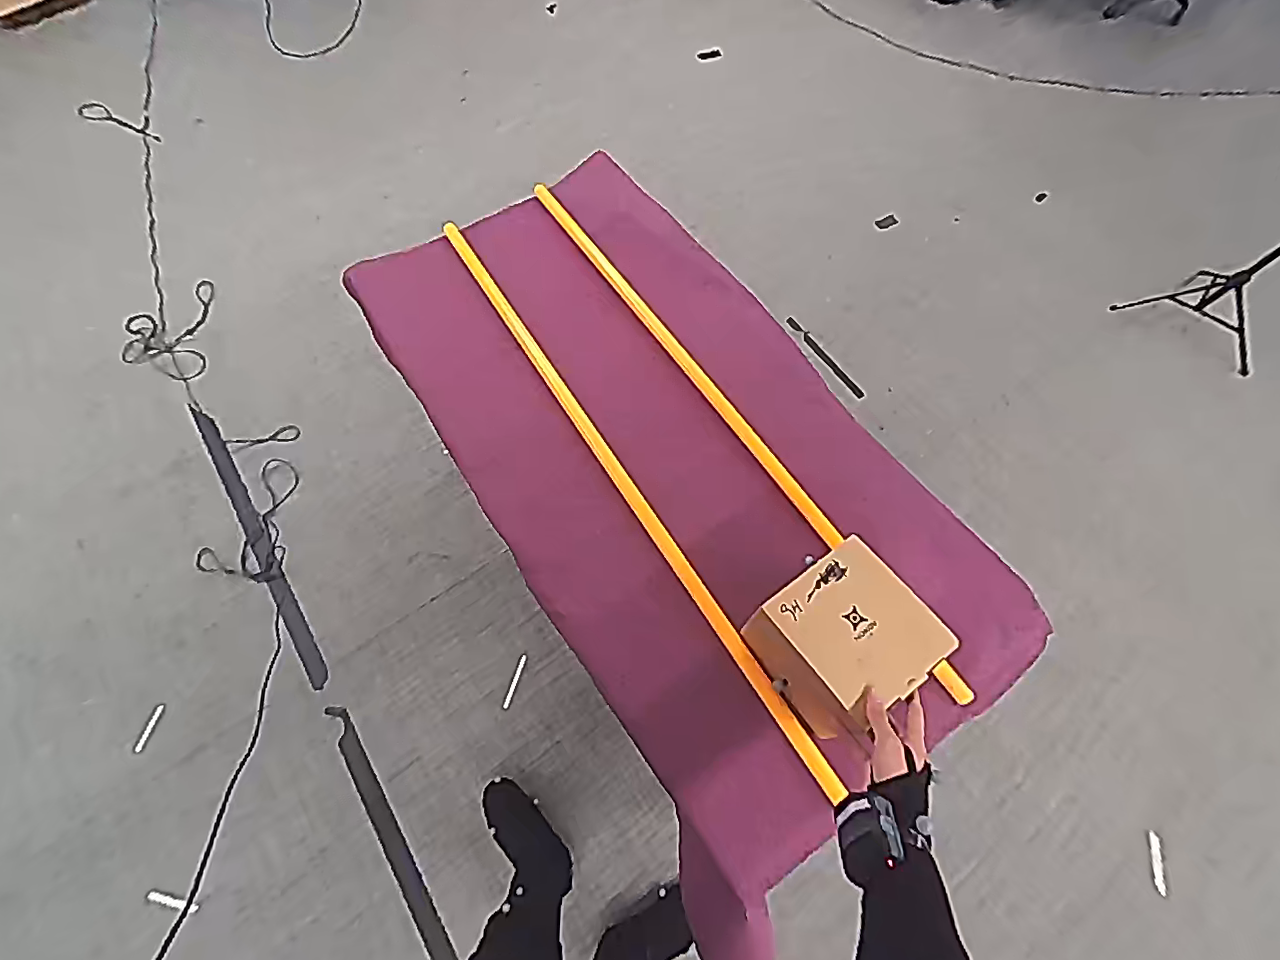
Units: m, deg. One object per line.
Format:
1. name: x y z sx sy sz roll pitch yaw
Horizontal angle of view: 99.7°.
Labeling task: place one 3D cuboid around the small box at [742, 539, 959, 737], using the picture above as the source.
1. small box: 0.261 0.212 0.716 0.168 0.176 0.179 -32 68 -16
